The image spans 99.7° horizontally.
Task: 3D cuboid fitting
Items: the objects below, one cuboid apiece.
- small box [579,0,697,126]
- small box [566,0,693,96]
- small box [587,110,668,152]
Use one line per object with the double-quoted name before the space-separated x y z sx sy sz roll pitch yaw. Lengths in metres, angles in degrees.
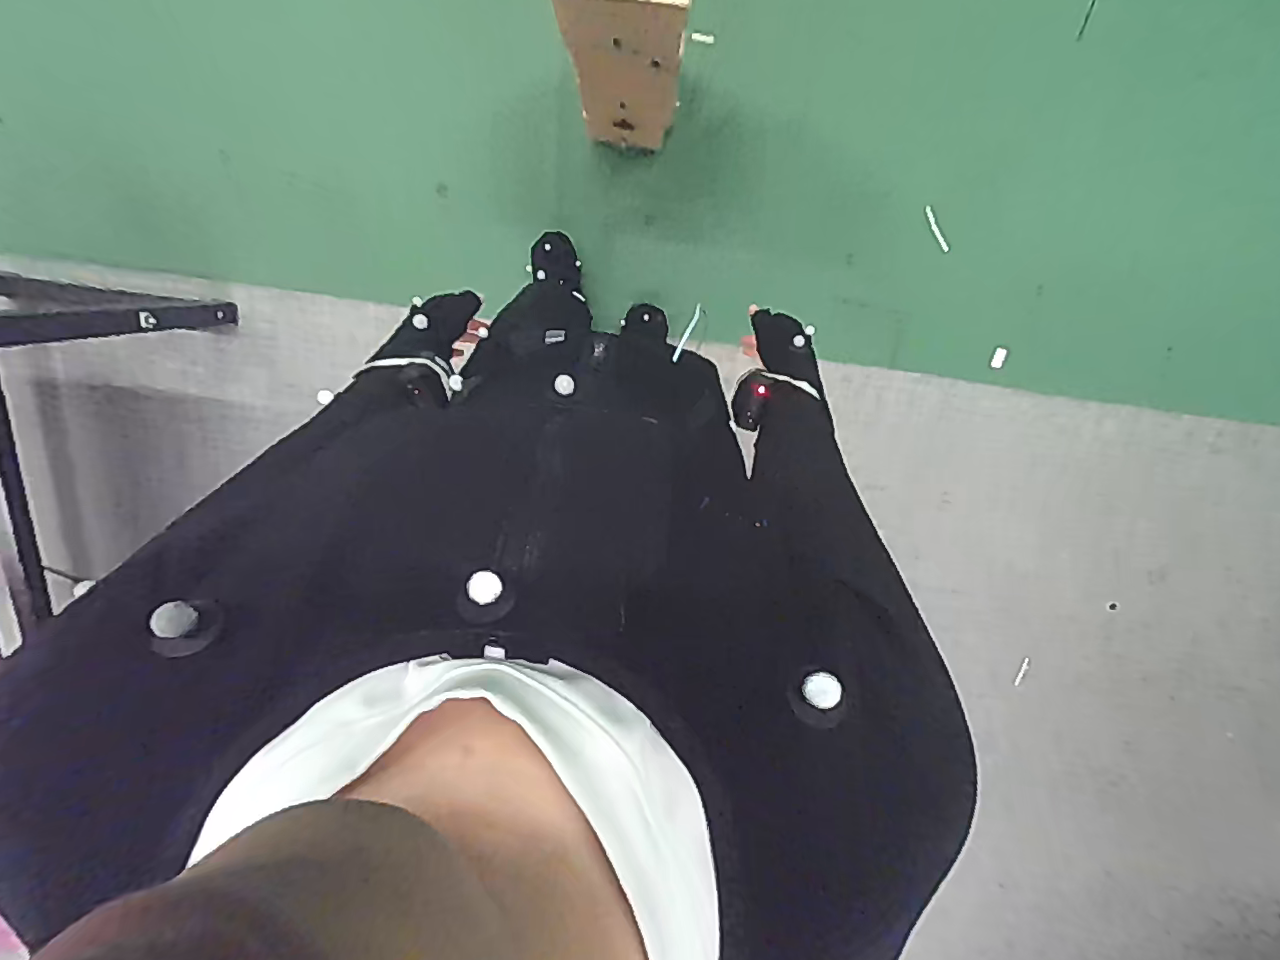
"small box" -0.007 -0.768 0.978 0.179 0.176 0.168 10 107 -4
"small box" -0.010 -0.717 0.826 0.179 0.176 0.168 6 108 -3
"small box" -0.015 -0.819 1.136 0.168 0.176 0.179 8 109 -2
